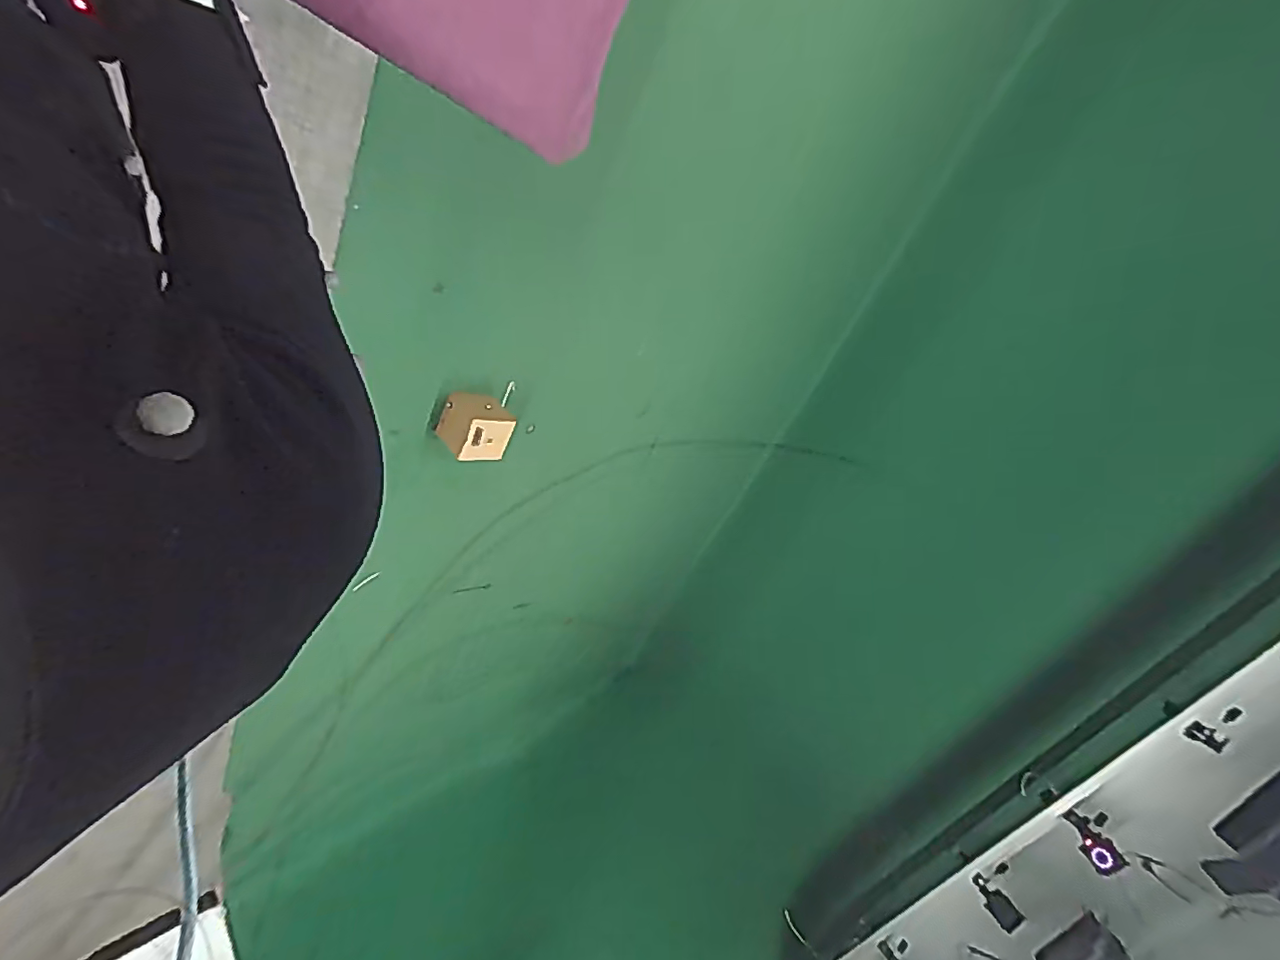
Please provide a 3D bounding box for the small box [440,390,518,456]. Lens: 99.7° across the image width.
[{"bbox_3d":[-0.560,-0.197,1.868,0.179,0.176,0.168,-5,131,-52],"label":"small box"}]
